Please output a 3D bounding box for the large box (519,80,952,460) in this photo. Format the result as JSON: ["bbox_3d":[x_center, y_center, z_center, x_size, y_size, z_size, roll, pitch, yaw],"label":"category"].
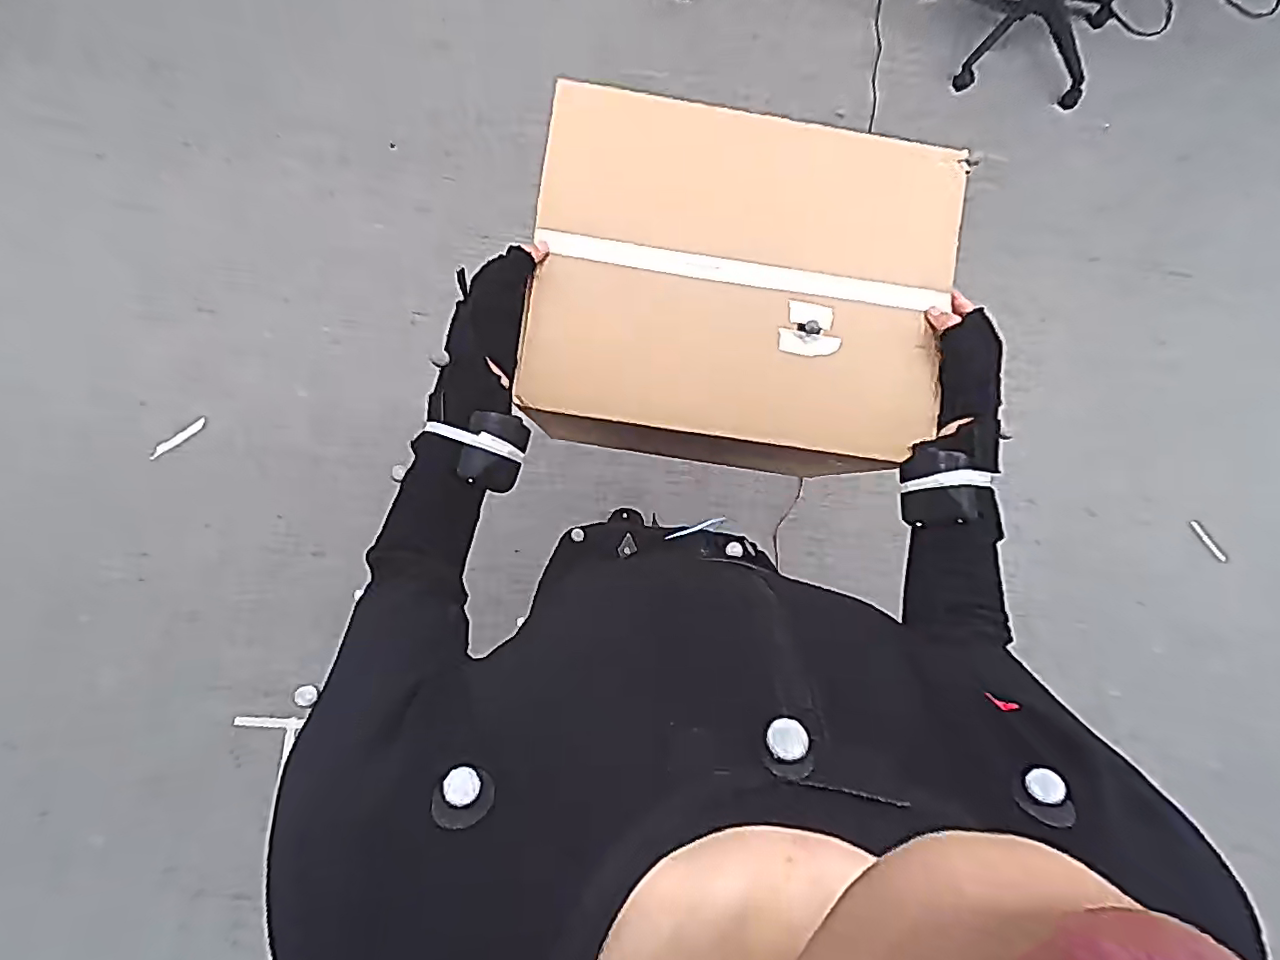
[{"bbox_3d":[0.087,-0.208,0.677,0.408,0.320,0.320,9,90,-4],"label":"large box"}]
